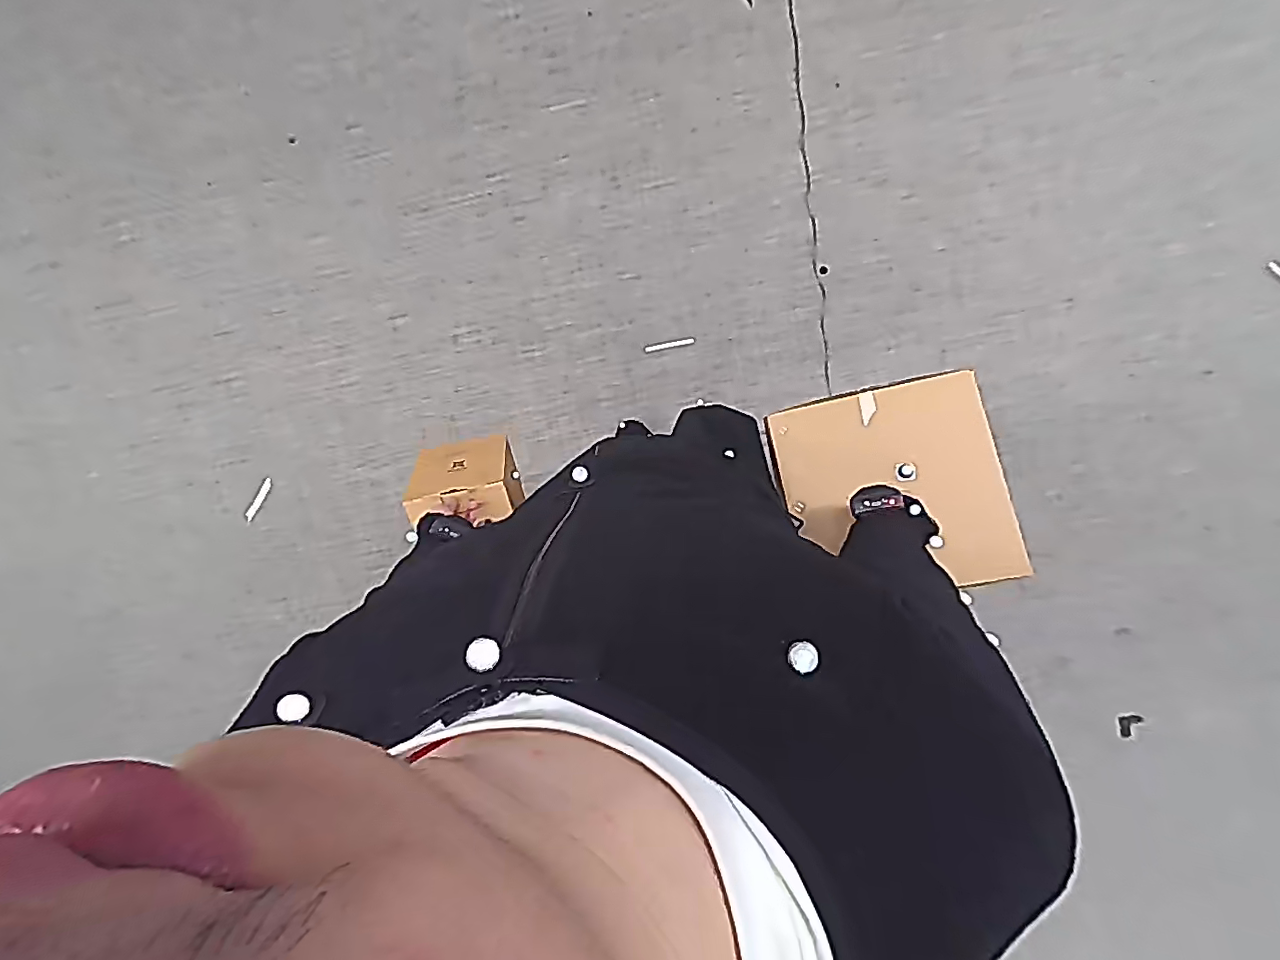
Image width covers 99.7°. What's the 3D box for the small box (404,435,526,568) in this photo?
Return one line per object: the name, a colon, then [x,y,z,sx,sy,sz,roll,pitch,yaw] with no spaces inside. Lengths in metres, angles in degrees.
small box: [-0.307,0.043,0.990,0.168,0.179,0.176,-11,123,-5]
